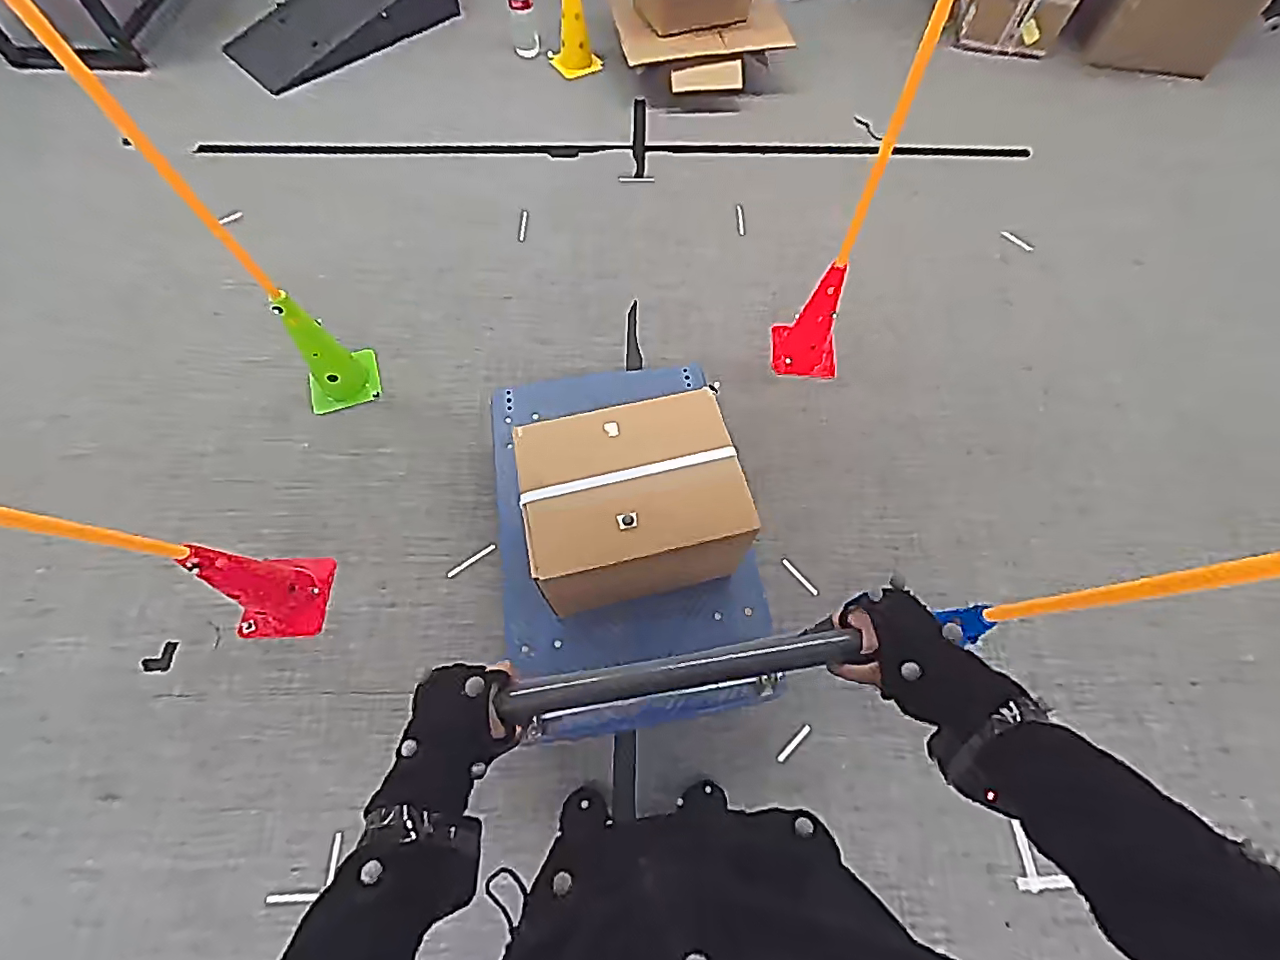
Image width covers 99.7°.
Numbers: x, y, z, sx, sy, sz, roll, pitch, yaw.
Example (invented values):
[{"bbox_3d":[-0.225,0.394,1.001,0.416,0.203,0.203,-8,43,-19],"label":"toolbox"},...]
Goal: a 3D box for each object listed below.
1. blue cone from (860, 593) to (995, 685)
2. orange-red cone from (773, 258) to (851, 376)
[{"bbox_3d":[0.656,0.326,1.185,0.193,0.380,0.192,-3,63,-3],"label":"blue cone"},{"bbox_3d":[0.531,-0.492,1.567,0.199,0.360,0.198,7,65,1],"label":"orange-red cone"}]
